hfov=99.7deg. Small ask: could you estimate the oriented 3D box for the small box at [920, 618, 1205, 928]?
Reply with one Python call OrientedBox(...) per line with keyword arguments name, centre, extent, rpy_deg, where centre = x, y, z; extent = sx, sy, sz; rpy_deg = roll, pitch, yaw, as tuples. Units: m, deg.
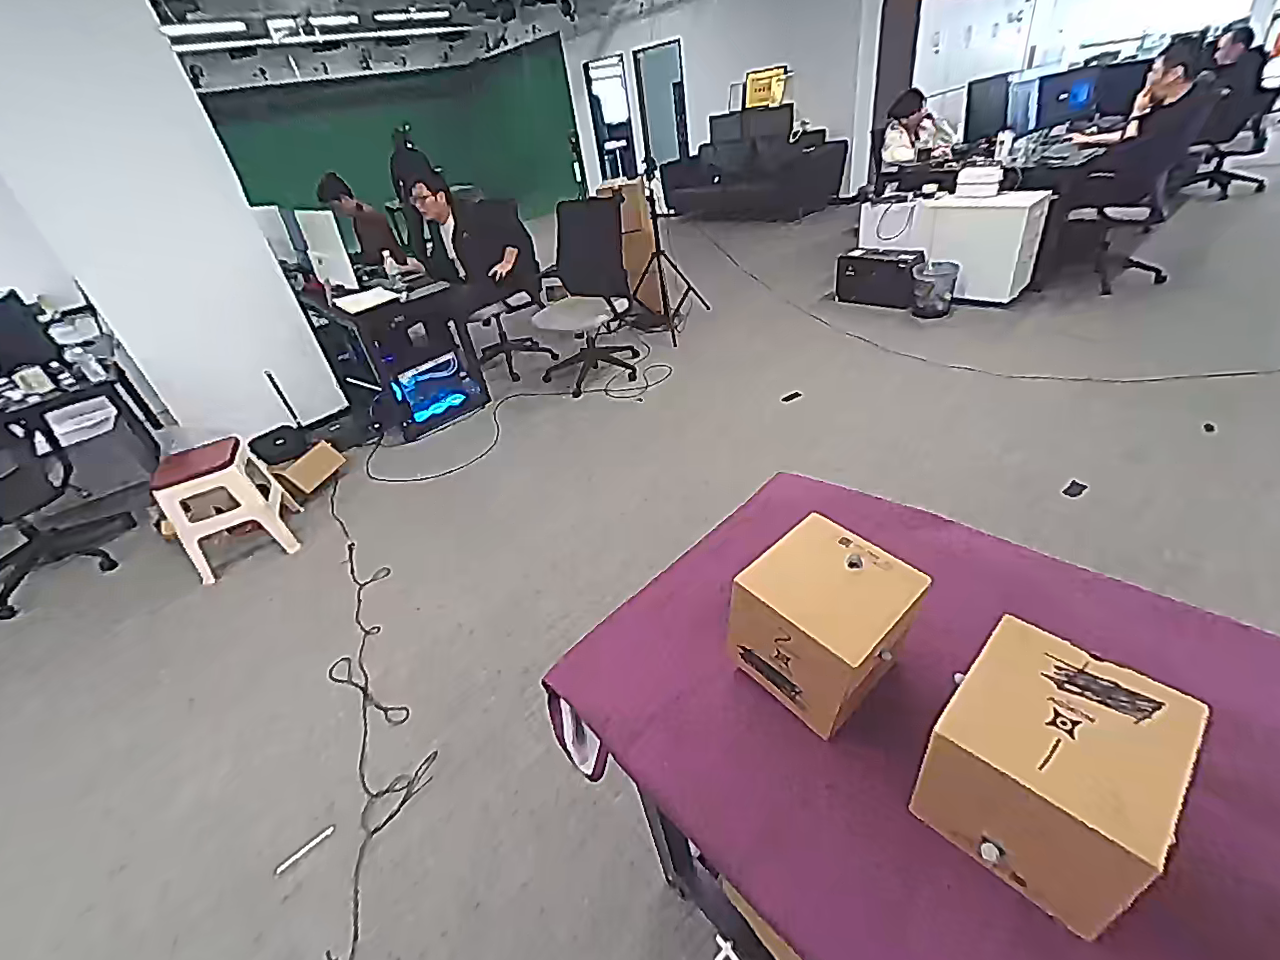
OrientedBox(name="small box", centre=(0.405, 0.283, 0.542), extent=(0.179, 0.176, 0.168), rpy_deg=(-34, 41, -30))
